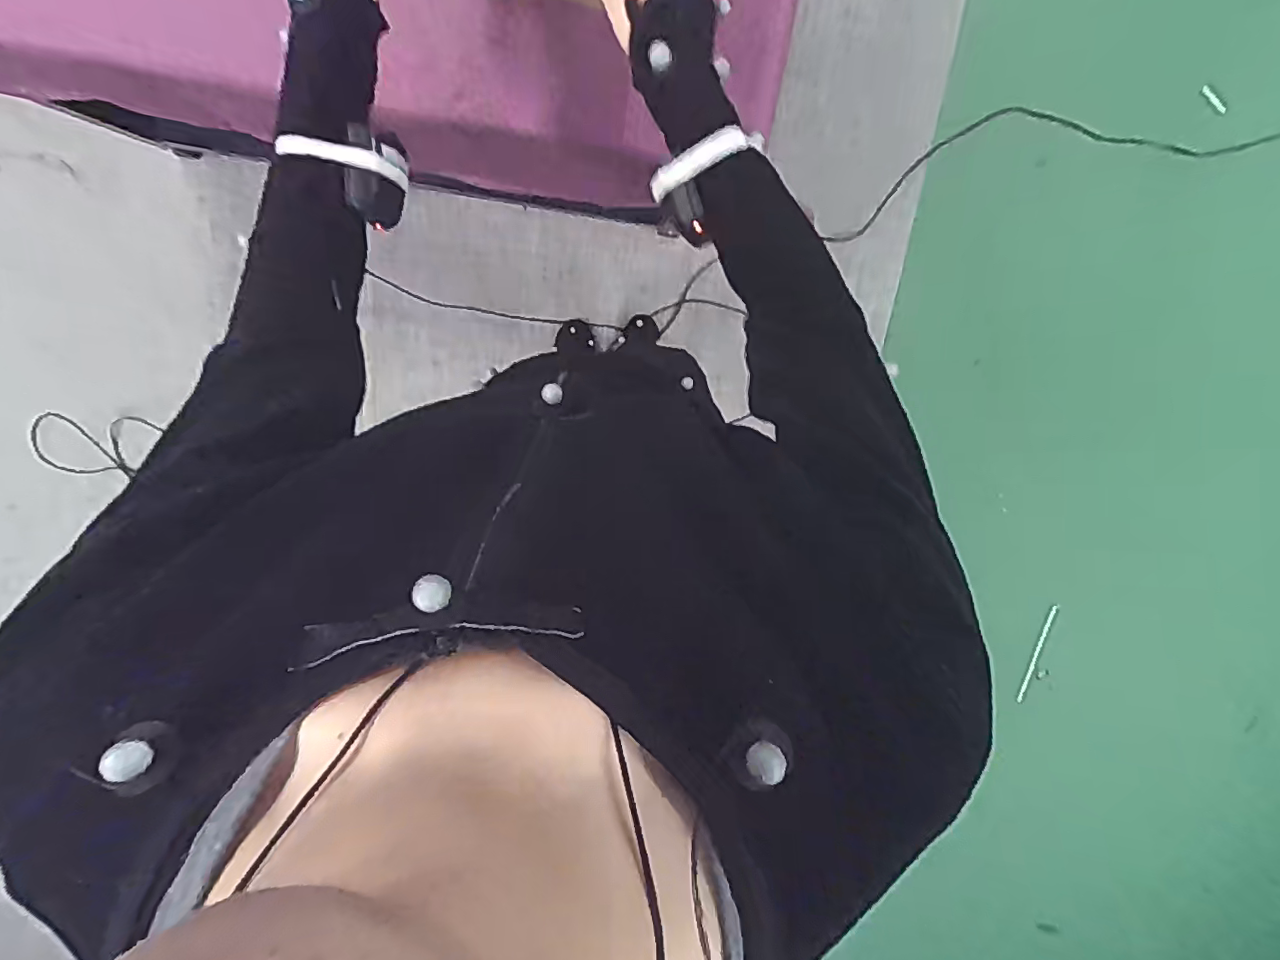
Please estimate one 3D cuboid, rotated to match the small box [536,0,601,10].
[{"bbox_3d":[-0.106,-0.525,0.453,0.179,0.176,0.168,5,123,-8],"label":"small box"}]
